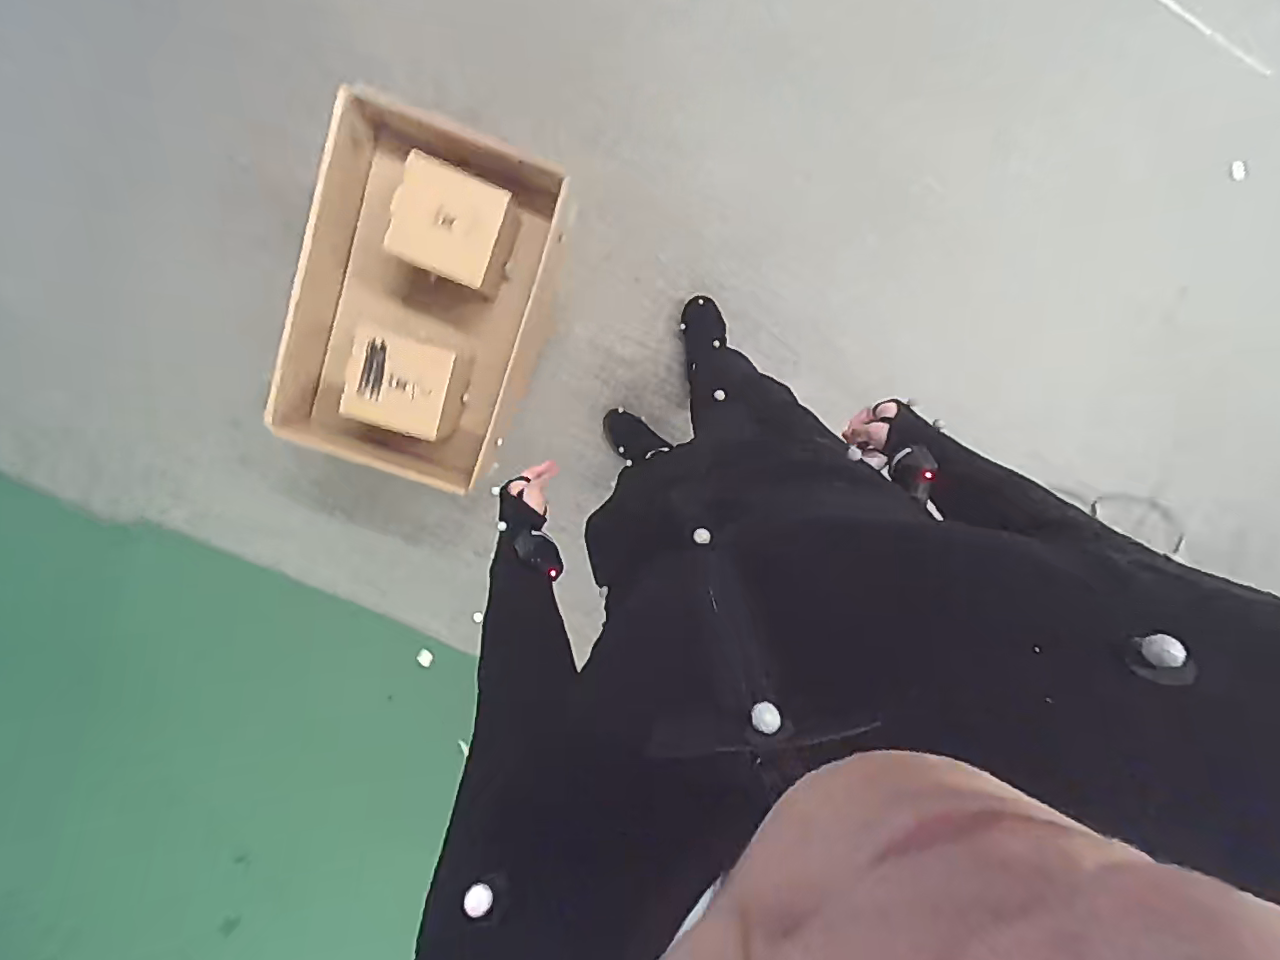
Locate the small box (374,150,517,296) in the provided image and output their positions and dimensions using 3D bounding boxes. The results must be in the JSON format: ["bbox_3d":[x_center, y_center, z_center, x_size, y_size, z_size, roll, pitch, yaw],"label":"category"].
[{"bbox_3d":[-0.340,-0.448,0.977,0.179,0.176,0.168,21,100,-8],"label":"small box"}]
